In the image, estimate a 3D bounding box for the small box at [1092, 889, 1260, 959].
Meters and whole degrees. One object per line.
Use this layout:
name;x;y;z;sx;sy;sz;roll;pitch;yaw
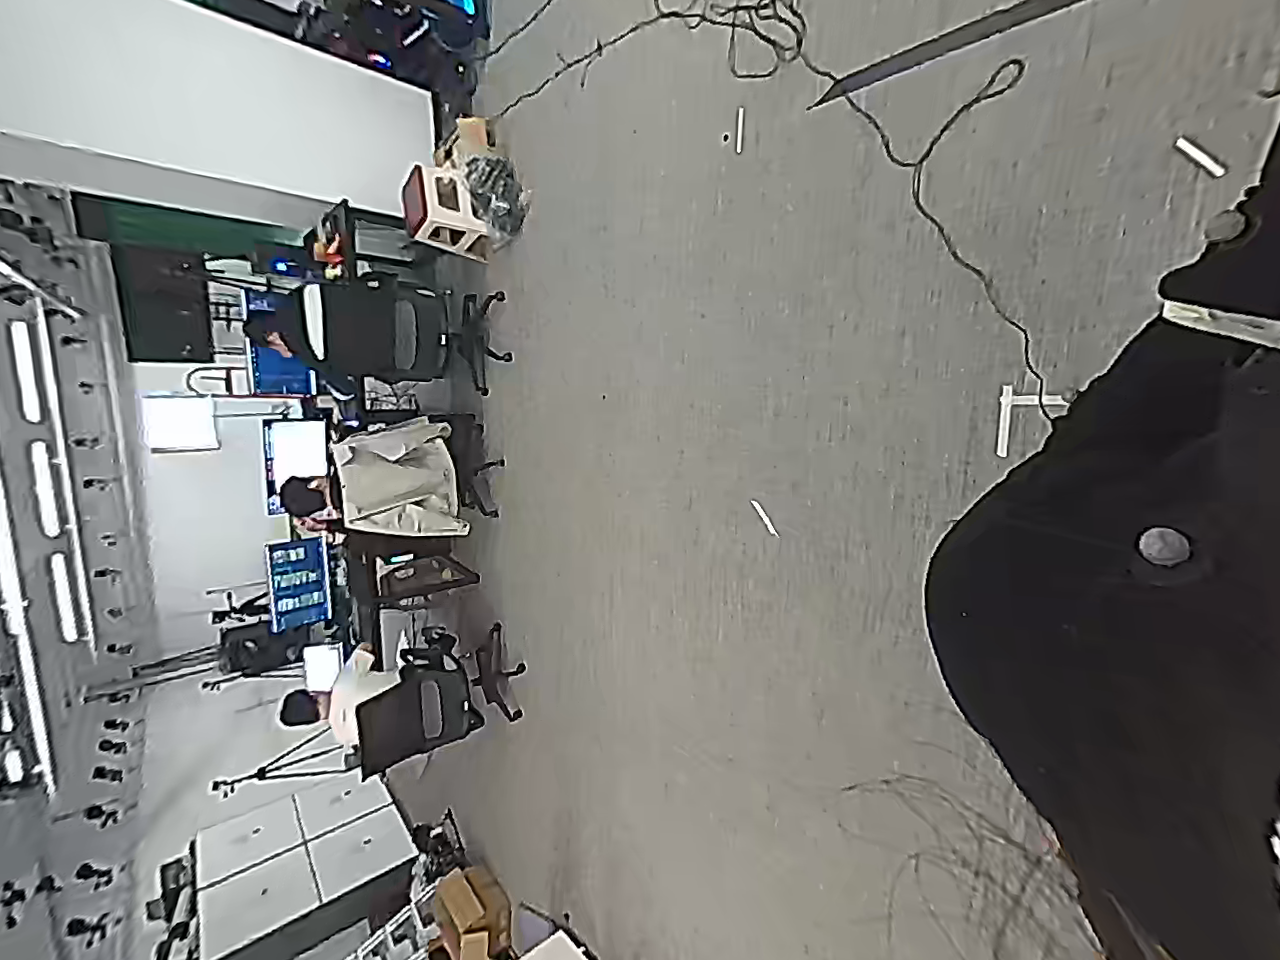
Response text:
small box;0.638;0.649;0.634;0.168;0.176;0.179;13;105;49
